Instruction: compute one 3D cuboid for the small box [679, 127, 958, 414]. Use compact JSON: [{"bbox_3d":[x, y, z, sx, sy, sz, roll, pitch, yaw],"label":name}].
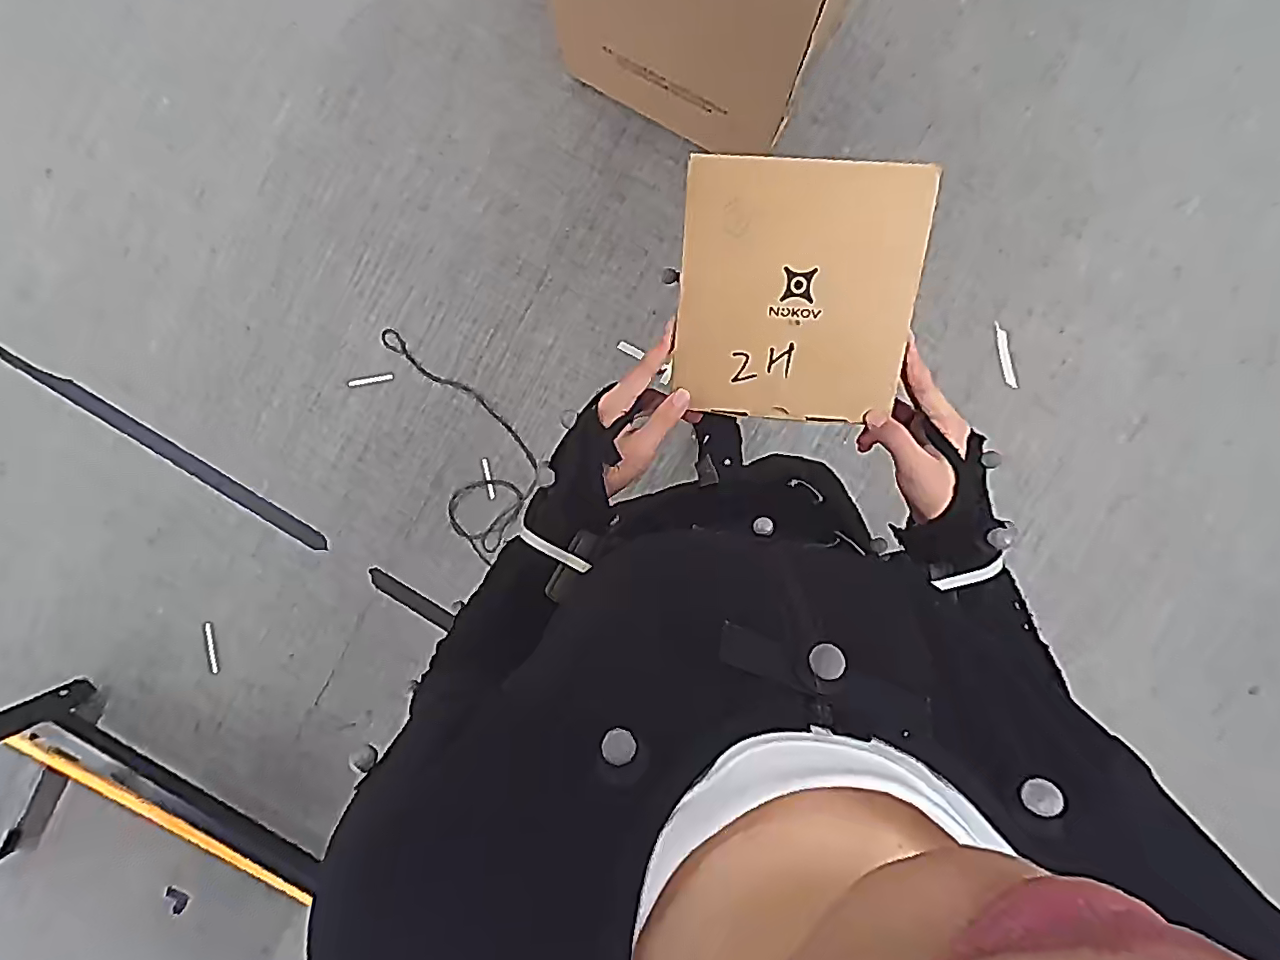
[{"bbox_3d":[0.122,-0.161,0.446,0.168,0.176,0.179,6,108,4],"label":"small box"}]
